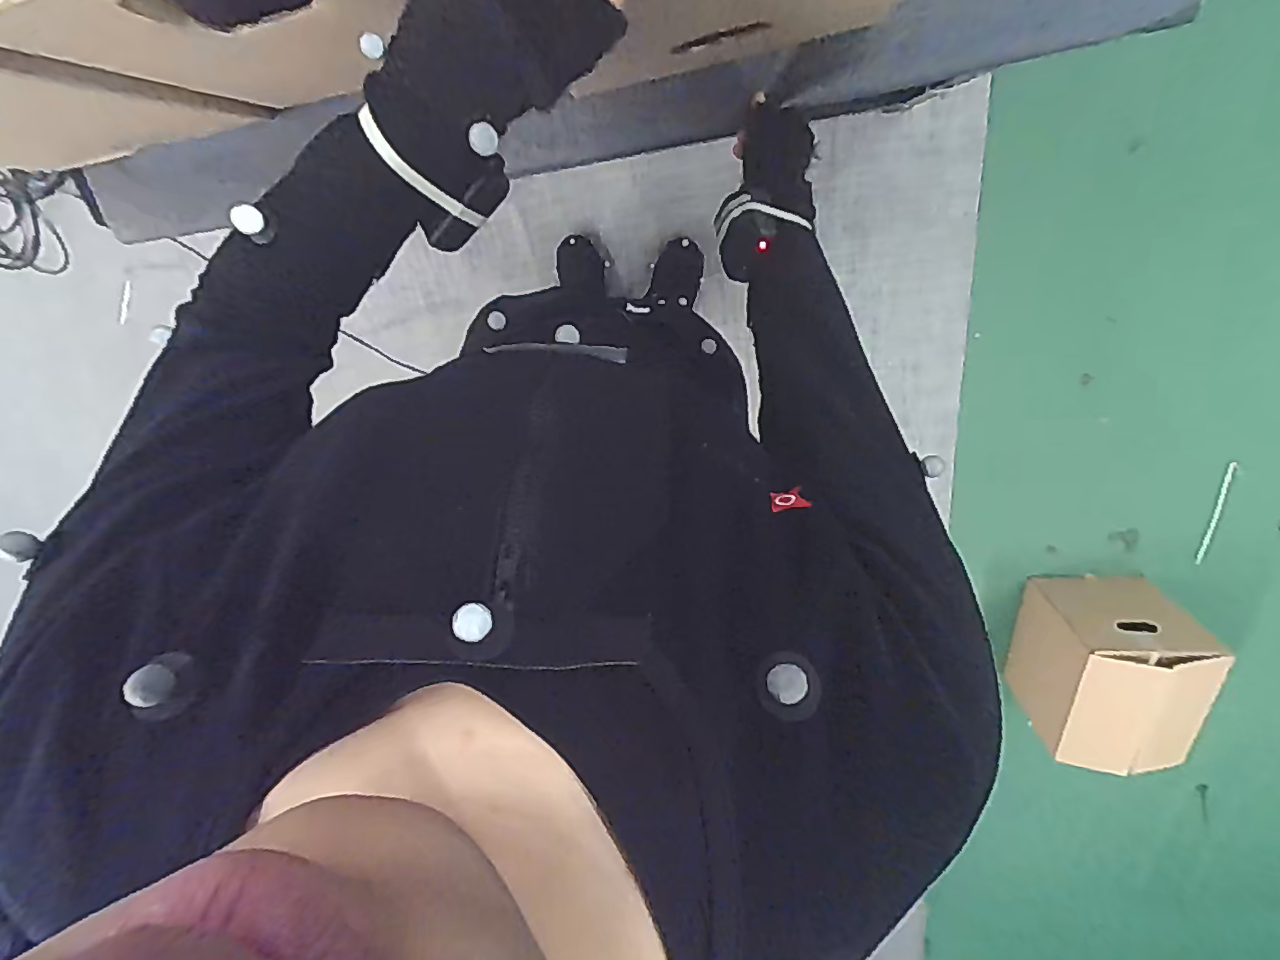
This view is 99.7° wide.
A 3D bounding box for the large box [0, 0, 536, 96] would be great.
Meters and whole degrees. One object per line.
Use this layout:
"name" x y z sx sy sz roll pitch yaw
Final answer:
"large box" -0.299 -0.543 0.351 0.320 0.320 0.408 -6 117 11
